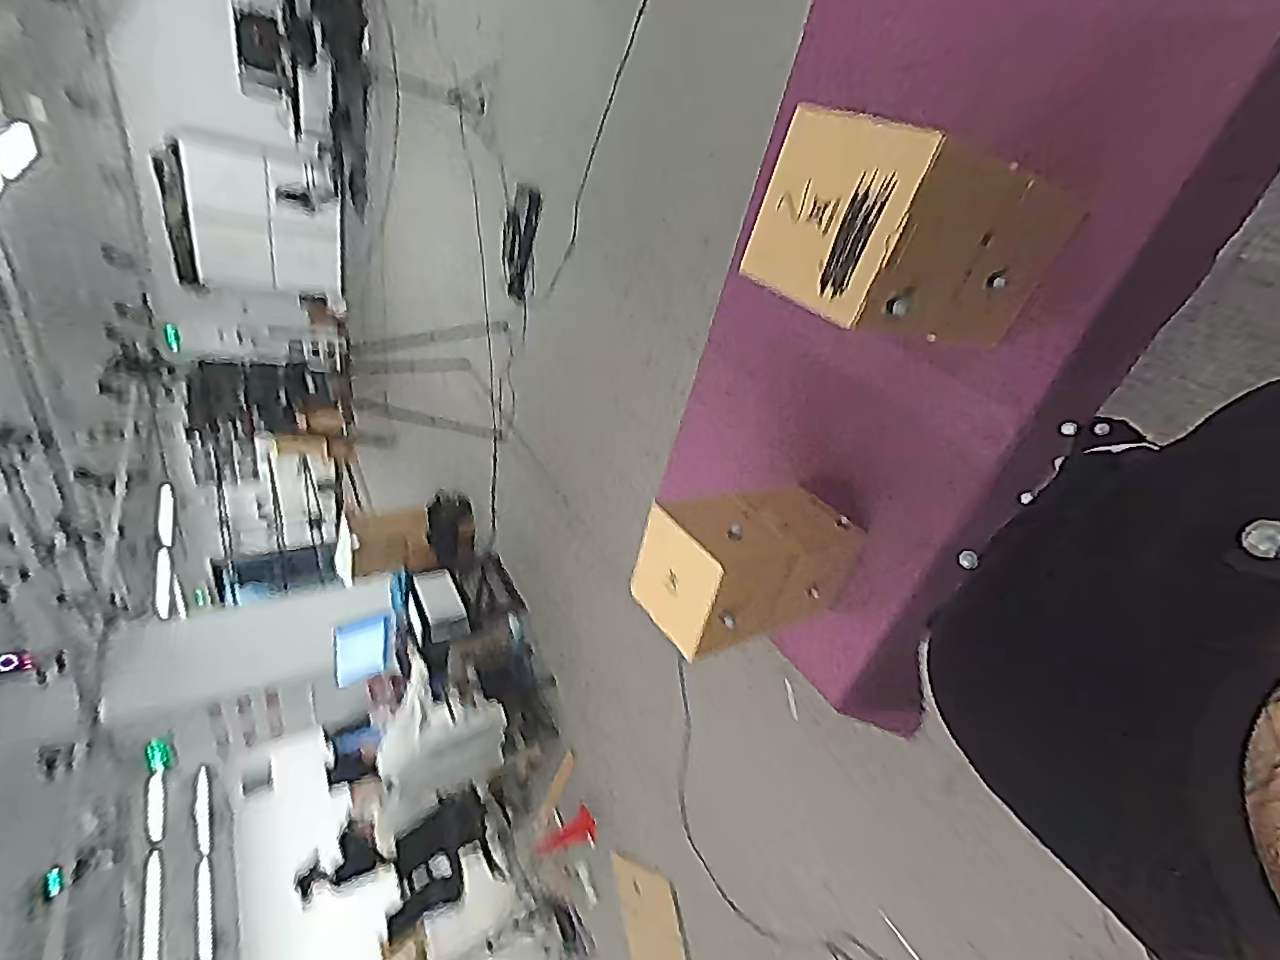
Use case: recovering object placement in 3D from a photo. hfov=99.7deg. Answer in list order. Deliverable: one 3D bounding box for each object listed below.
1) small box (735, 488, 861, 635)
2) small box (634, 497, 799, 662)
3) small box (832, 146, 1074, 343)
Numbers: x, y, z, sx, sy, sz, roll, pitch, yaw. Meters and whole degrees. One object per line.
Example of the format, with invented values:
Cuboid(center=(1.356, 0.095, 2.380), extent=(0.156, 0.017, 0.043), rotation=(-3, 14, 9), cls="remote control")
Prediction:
Cuboid(center=(0.250, 0.130, 0.935), extent=(0.168, 0.176, 0.179), rotation=(43, 130, 43), cls="small box")
Cuboid(center=(0.118, 0.142, 0.840), extent=(0.168, 0.176, 0.179), rotation=(42, 129, 44), cls="small box")
Cuboid(center=(0.384, -0.282, 0.673), extent=(0.168, 0.176, 0.179), rotation=(48, 133, 38), cls="small box")
